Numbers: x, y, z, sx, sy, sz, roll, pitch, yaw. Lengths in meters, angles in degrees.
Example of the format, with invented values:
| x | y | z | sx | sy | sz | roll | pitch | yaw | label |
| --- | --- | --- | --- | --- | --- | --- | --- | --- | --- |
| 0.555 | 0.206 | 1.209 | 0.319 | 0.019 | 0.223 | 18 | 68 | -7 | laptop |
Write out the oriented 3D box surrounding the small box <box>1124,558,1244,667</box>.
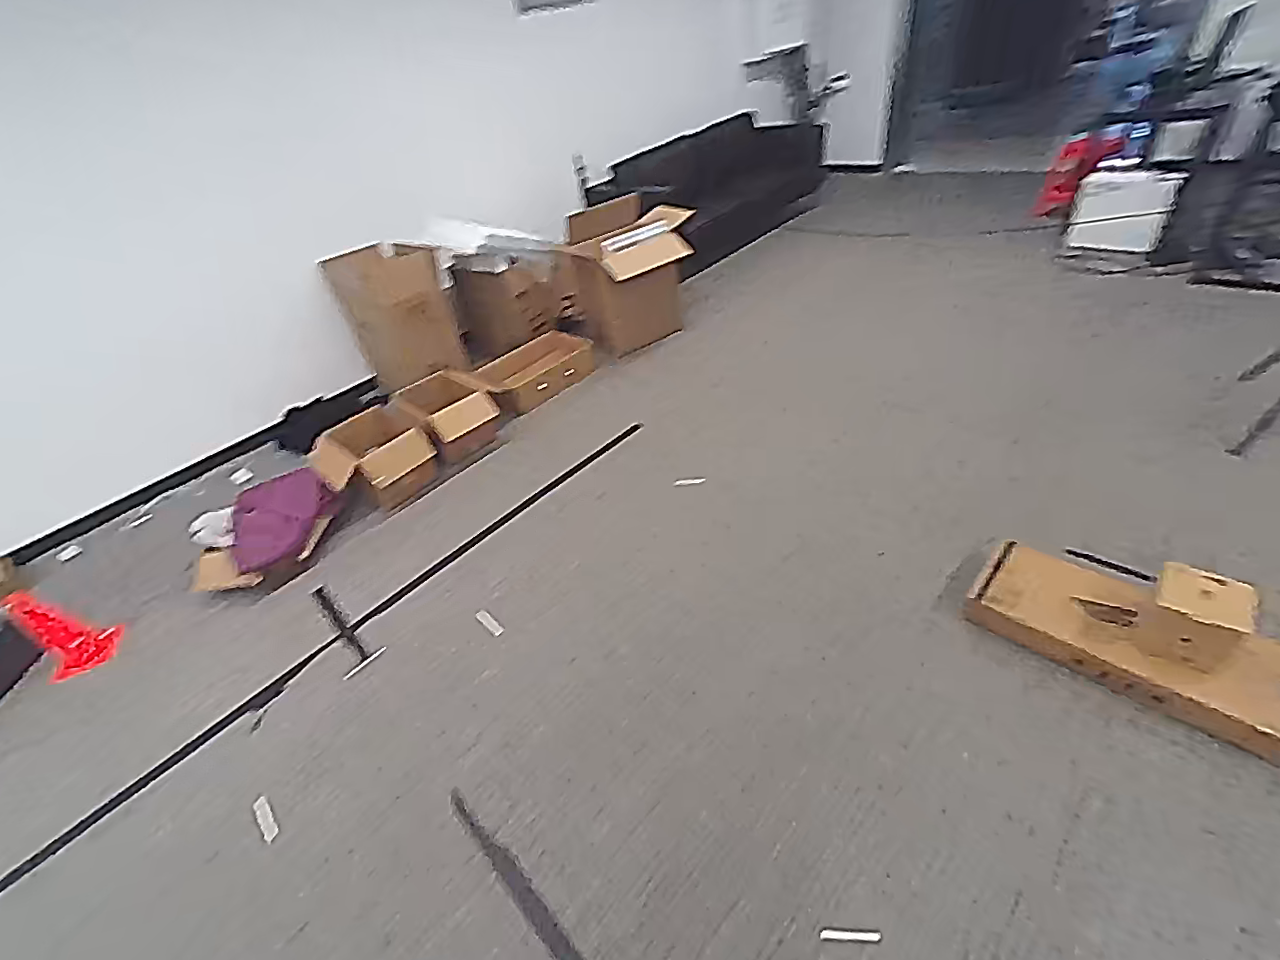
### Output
| x | y | z | sx | sy | sz | roll | pitch | yaw | label |
| --- | --- | --- | --- | --- | --- | --- | --- | --- | --- |
| 1.382 | 0.339 | 1.382 | 0.168 | 0.176 | 0.179 | 24 | 51 | 36 | small box |
